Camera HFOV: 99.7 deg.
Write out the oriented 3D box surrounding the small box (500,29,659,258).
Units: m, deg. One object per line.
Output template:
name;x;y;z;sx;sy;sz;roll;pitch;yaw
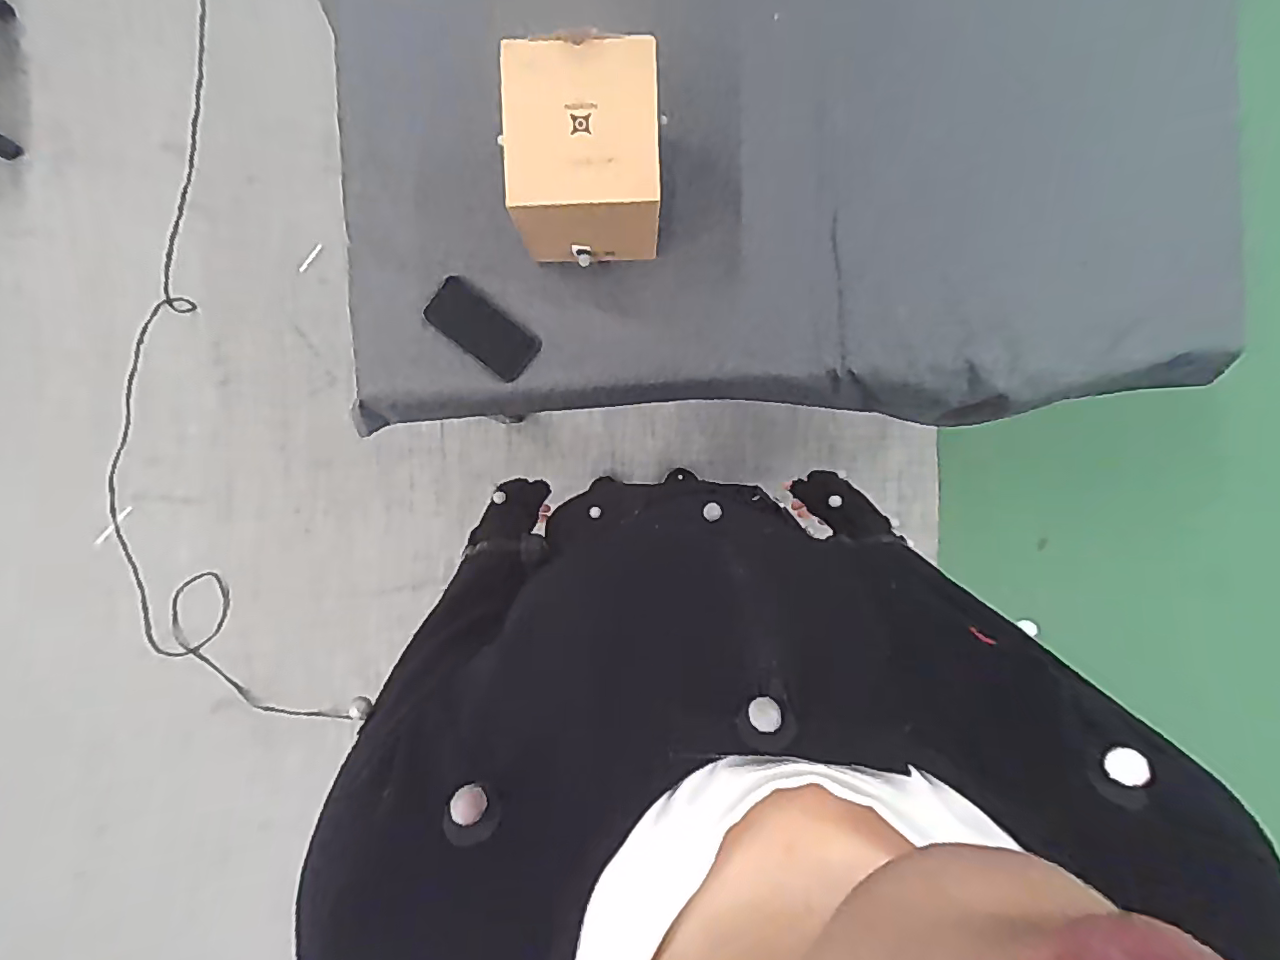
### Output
small box;-0.065;-0.384;0.644;0.168;0.176;0.179;-2;93;0
